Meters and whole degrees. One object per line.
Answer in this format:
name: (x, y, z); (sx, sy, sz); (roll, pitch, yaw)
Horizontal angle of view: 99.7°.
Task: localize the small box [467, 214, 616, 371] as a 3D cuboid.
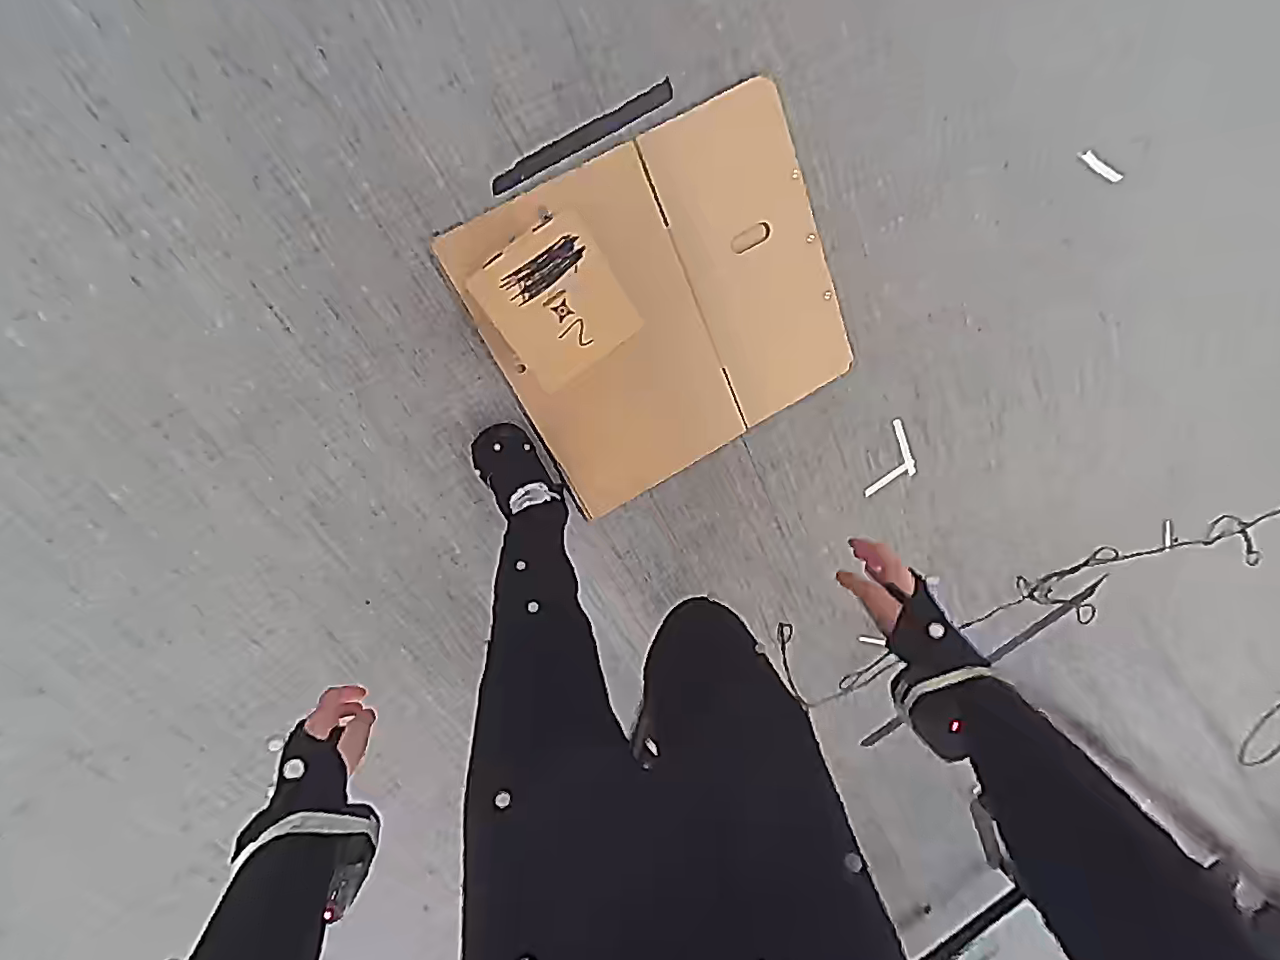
small box: (-0.172, -0.309, 0.906); (0.168, 0.176, 0.179); (-39, 116, -1)
